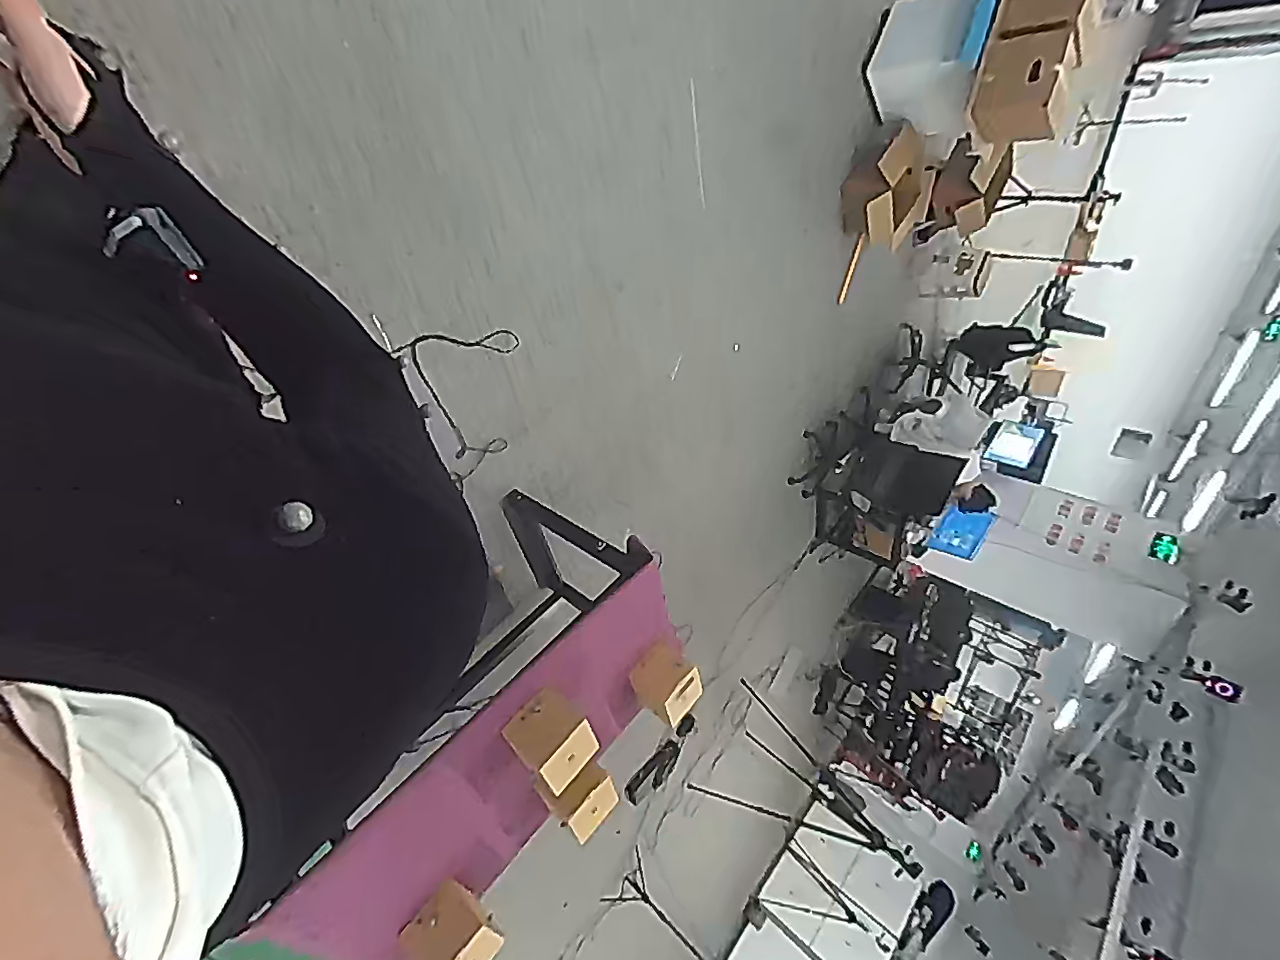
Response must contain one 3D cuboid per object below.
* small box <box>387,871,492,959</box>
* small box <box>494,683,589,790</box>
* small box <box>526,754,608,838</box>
[{"bbox_3d":[-0.532,1.194,1.440,0.168,0.176,0.179,-42,137,-30],"label":"small box"},{"bbox_3d":[-0.265,0.687,1.463,0.168,0.176,0.179,-39,137,-30],"label":"small box"},{"bbox_3d":[-0.224,0.942,1.662,0.168,0.176,0.179,-37,133,-30],"label":"small box"}]
